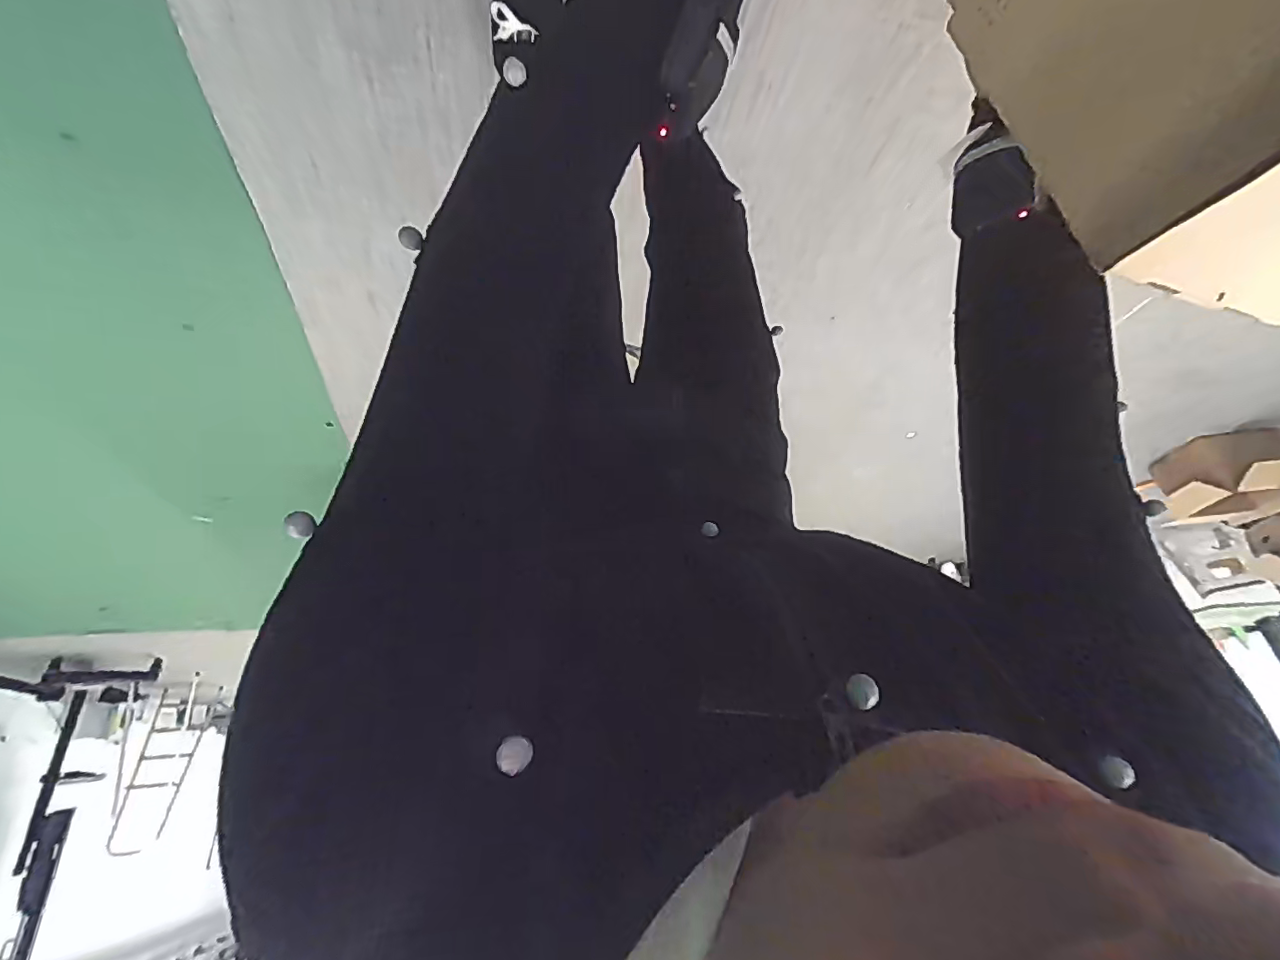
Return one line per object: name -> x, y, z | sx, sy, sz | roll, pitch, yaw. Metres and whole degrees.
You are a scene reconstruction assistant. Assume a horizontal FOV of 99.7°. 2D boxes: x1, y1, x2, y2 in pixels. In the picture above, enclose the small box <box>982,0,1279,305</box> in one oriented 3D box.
small box -> 0.268, -0.198, 0.202 | 0.168, 0.176, 0.179 | 0, 157, -23
